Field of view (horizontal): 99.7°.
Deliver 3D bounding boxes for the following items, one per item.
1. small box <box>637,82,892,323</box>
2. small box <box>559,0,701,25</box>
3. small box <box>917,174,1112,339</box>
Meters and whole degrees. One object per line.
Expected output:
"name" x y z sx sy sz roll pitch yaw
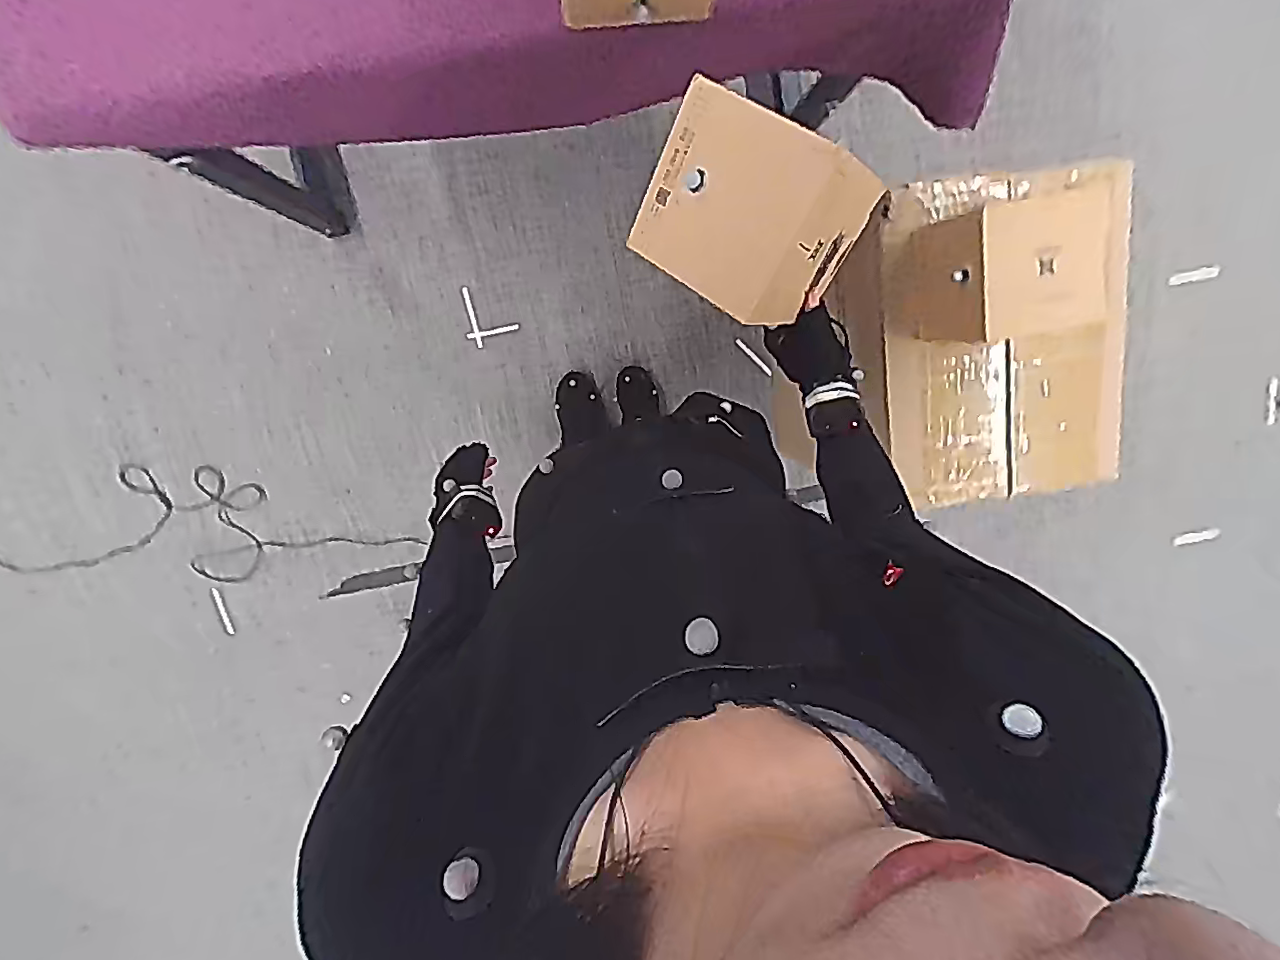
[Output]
"small box" 0.131 -0.286 0.580 0.176 0.179 0.168 41 123 21
"small box" -0.006 -0.615 0.556 0.179 0.176 0.168 -8 102 -4
"small box" 0.519 -0.304 0.771 0.168 0.176 0.179 -11 104 1
